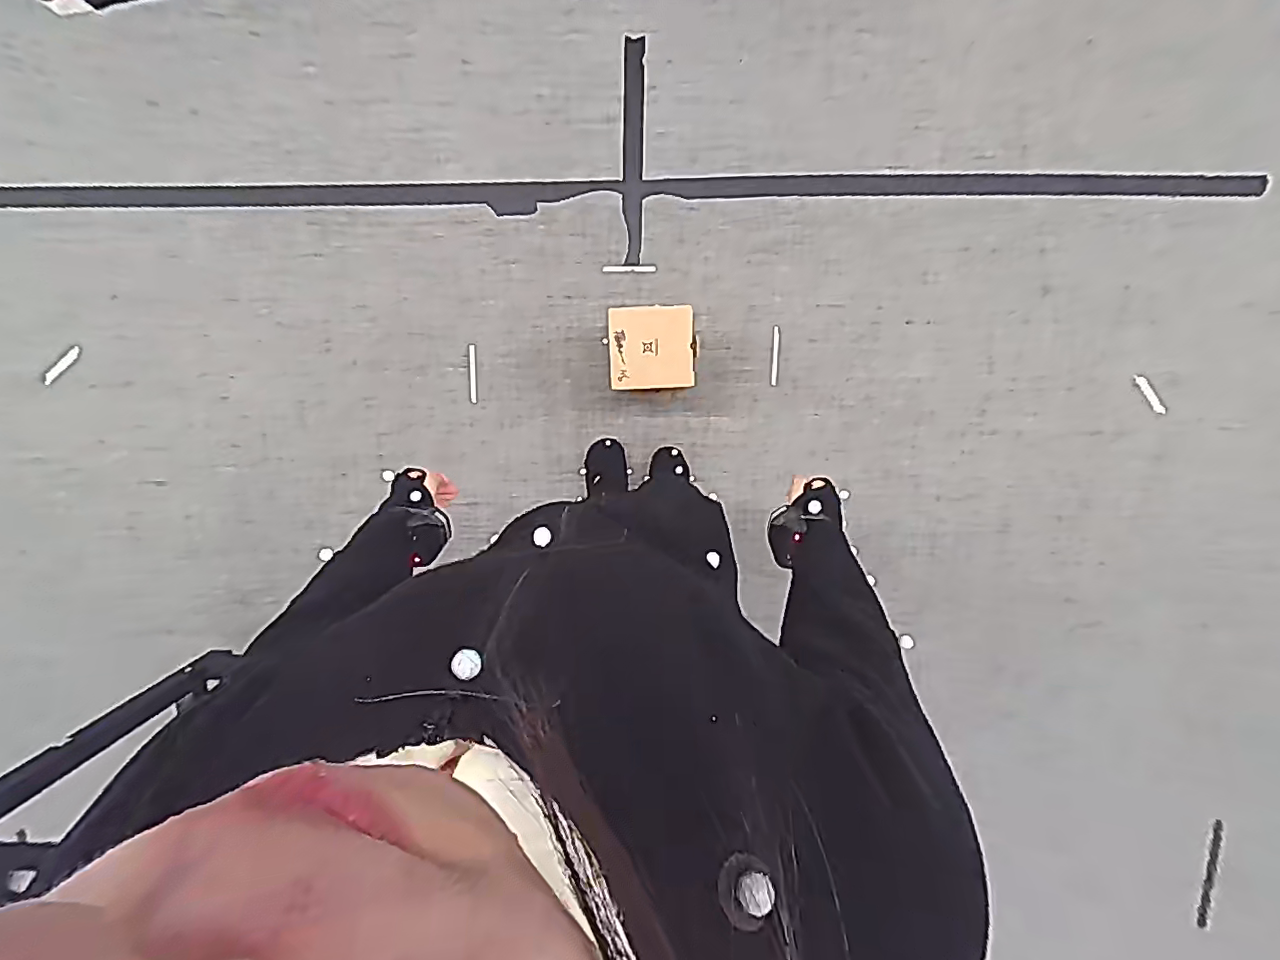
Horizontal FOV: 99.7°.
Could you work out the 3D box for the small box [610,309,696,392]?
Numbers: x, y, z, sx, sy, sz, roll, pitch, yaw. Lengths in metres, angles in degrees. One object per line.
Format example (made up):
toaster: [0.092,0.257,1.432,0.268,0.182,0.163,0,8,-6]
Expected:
small box: [0.024,-0.277,1.177,0.179,0.176,0.168,-2,99,-1]
